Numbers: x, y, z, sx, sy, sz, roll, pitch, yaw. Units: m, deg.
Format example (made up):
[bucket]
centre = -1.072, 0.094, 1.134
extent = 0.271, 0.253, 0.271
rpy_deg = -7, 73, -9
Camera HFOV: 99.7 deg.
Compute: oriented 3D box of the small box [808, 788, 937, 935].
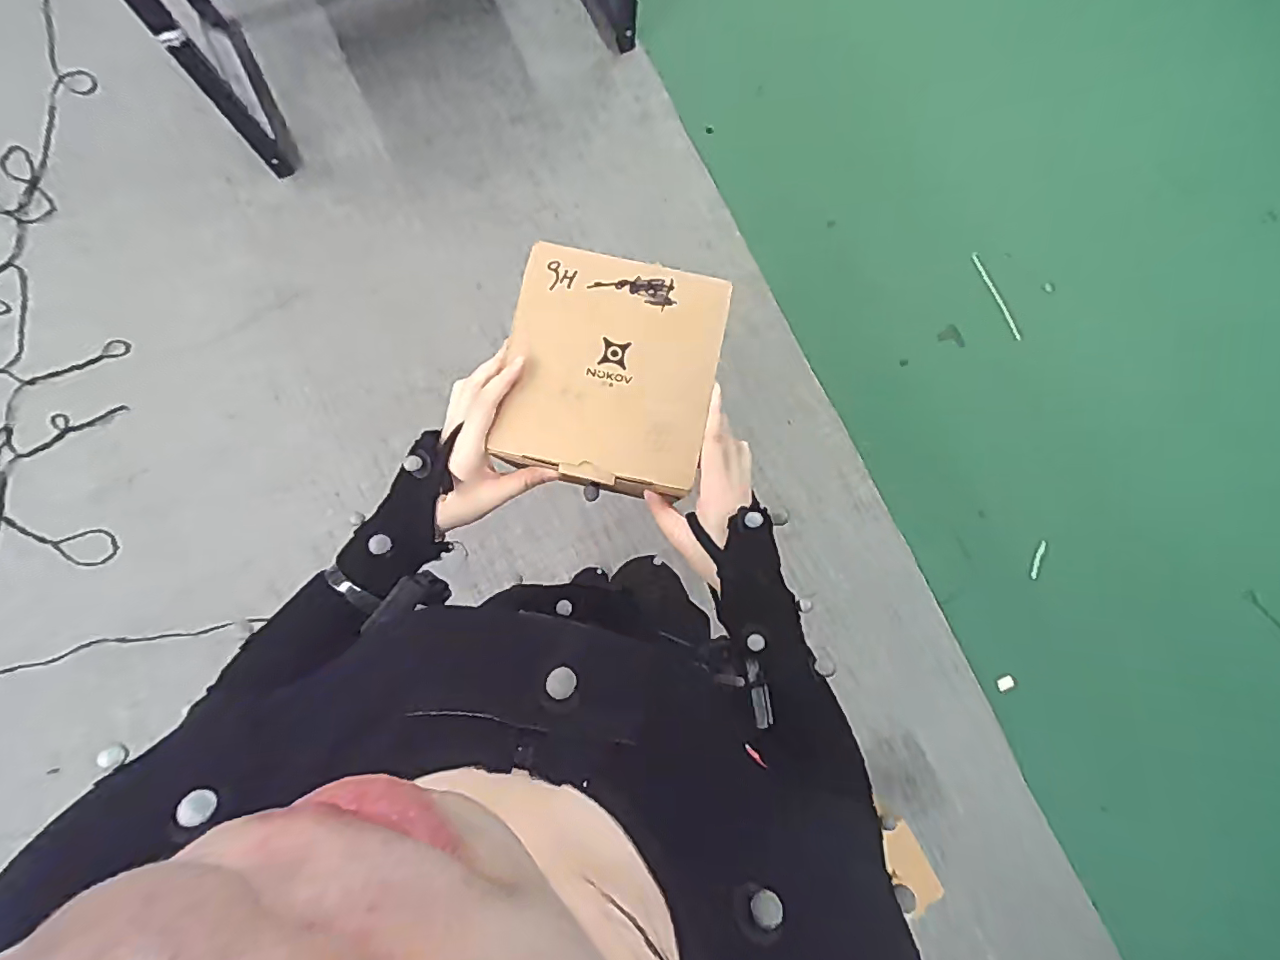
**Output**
[small box]
centre = 0.512, 0.843, 1.215
extent = 0.168, 0.176, 0.179
rpy_deg = -27, 87, -9
